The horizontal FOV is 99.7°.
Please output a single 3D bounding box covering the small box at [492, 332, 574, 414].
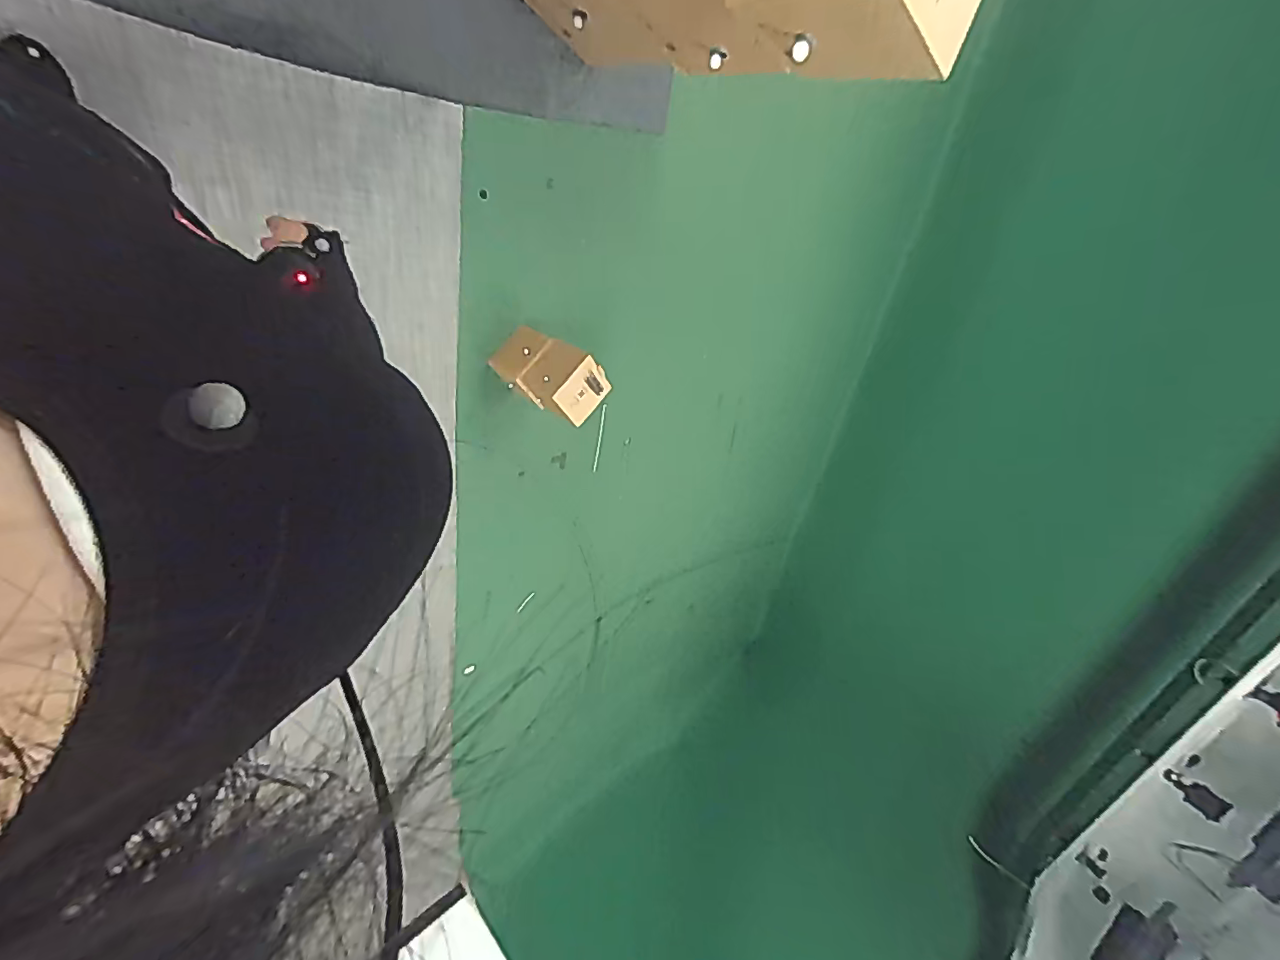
[{"bbox_3d":[-0.356,-0.351,1.767,0.179,0.176,0.168,-52,145,-9],"label":"small box"}]
